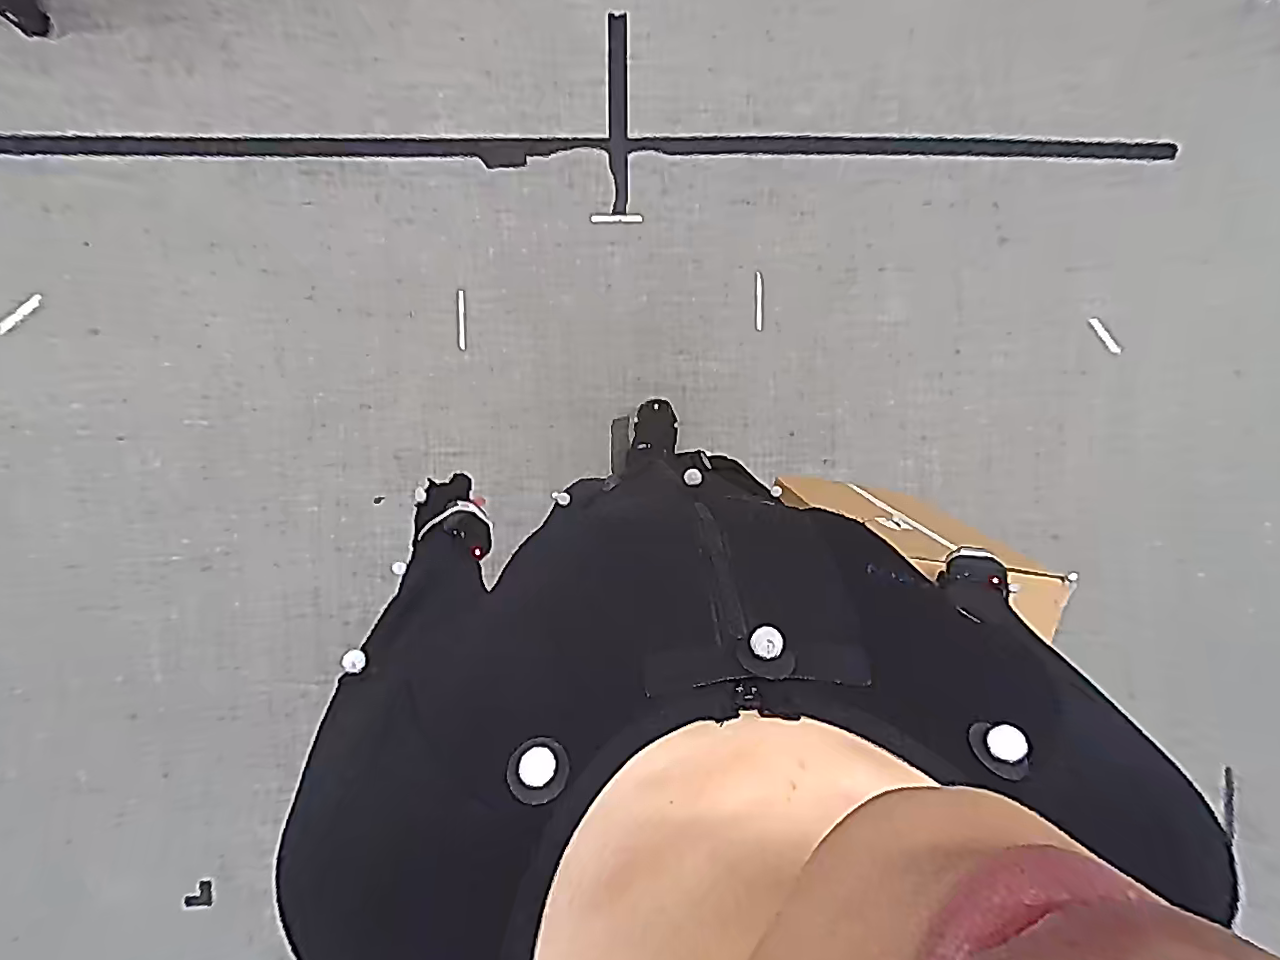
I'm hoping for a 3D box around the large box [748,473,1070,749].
[{"bbox_3d":[0.426,0.207,0.983,0.320,0.408,0.320,8,106,-7],"label":"large box"}]
